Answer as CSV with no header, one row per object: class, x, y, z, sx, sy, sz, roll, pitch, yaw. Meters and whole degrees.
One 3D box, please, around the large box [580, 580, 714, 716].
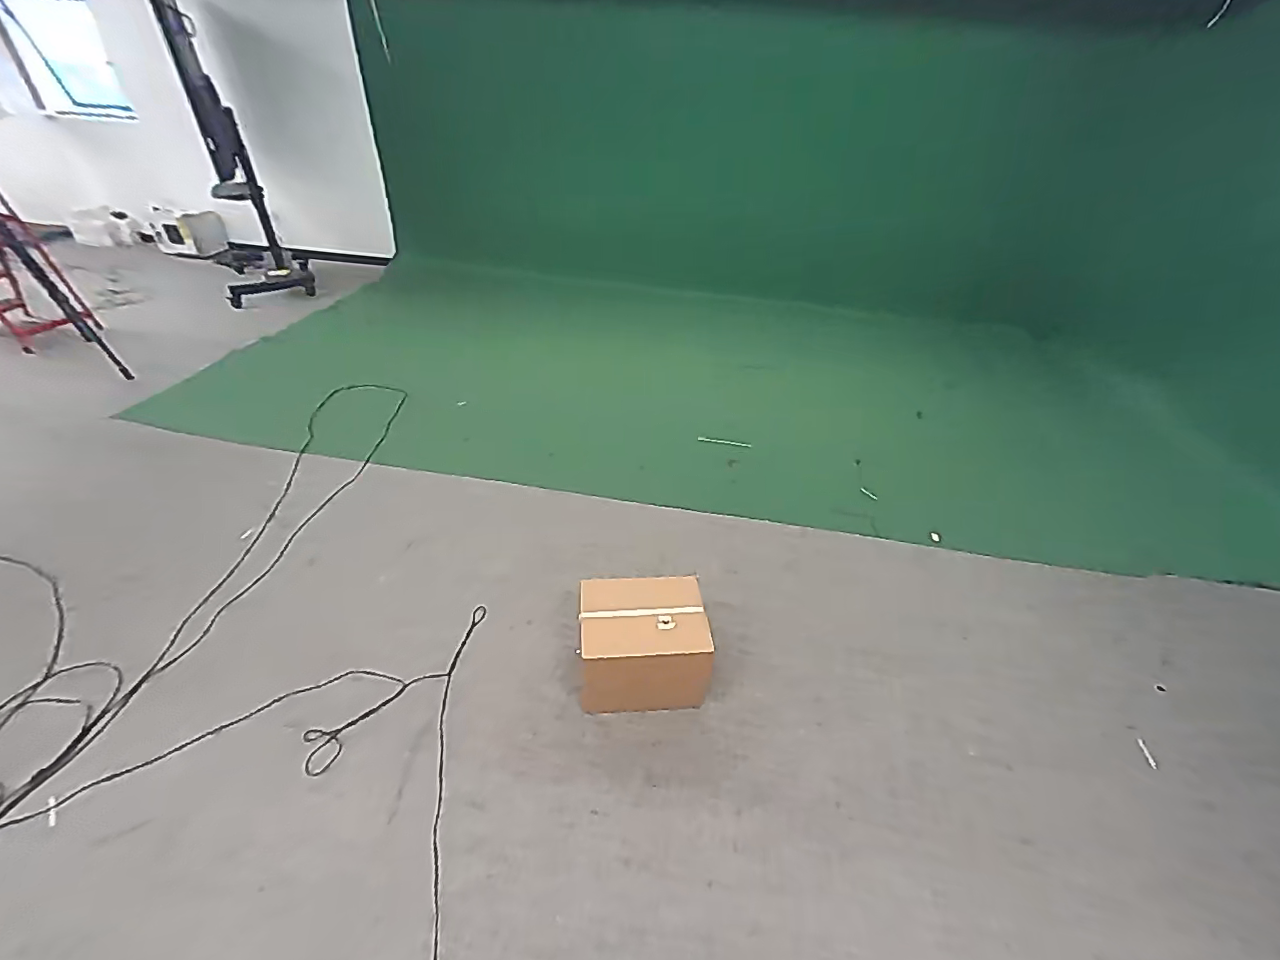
large box,0.004,0.563,1.823,0.408,0.320,0.320,-1,37,-7
